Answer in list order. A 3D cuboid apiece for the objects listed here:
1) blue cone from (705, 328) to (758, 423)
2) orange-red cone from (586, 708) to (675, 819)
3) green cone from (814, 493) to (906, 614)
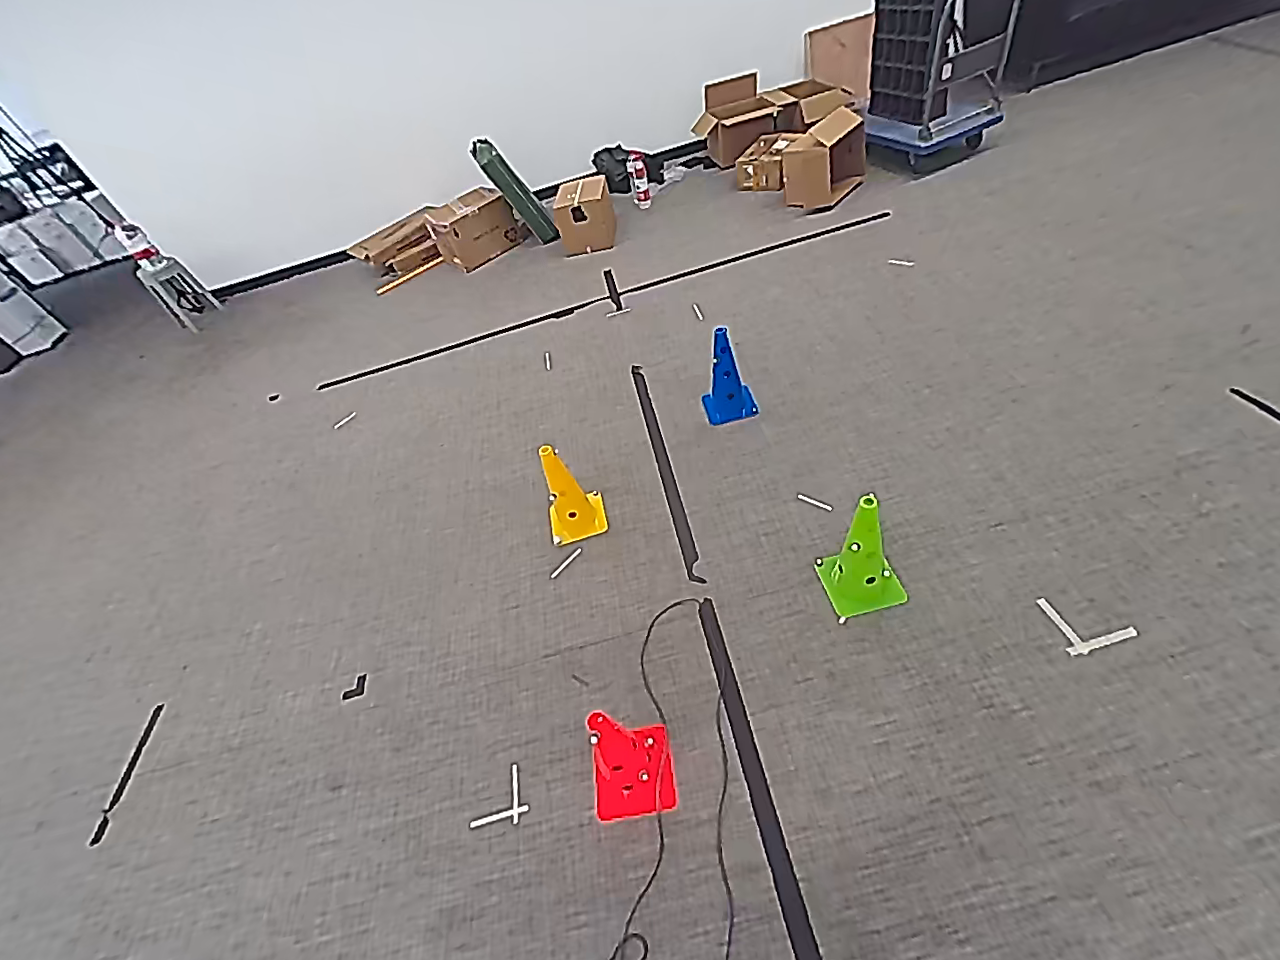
[{"bbox_3d":[0.337,-0.417,2.099,0.192,0.380,0.193,-13,46,4],"label":"blue cone"},{"bbox_3d":[-0.056,0.609,1.232,0.199,0.360,0.198,-14,44,6],"label":"orange-red cone"},{"bbox_3d":[0.598,0.171,1.442,0.202,0.368,0.200,-15,45,1],"label":"green cone"}]
